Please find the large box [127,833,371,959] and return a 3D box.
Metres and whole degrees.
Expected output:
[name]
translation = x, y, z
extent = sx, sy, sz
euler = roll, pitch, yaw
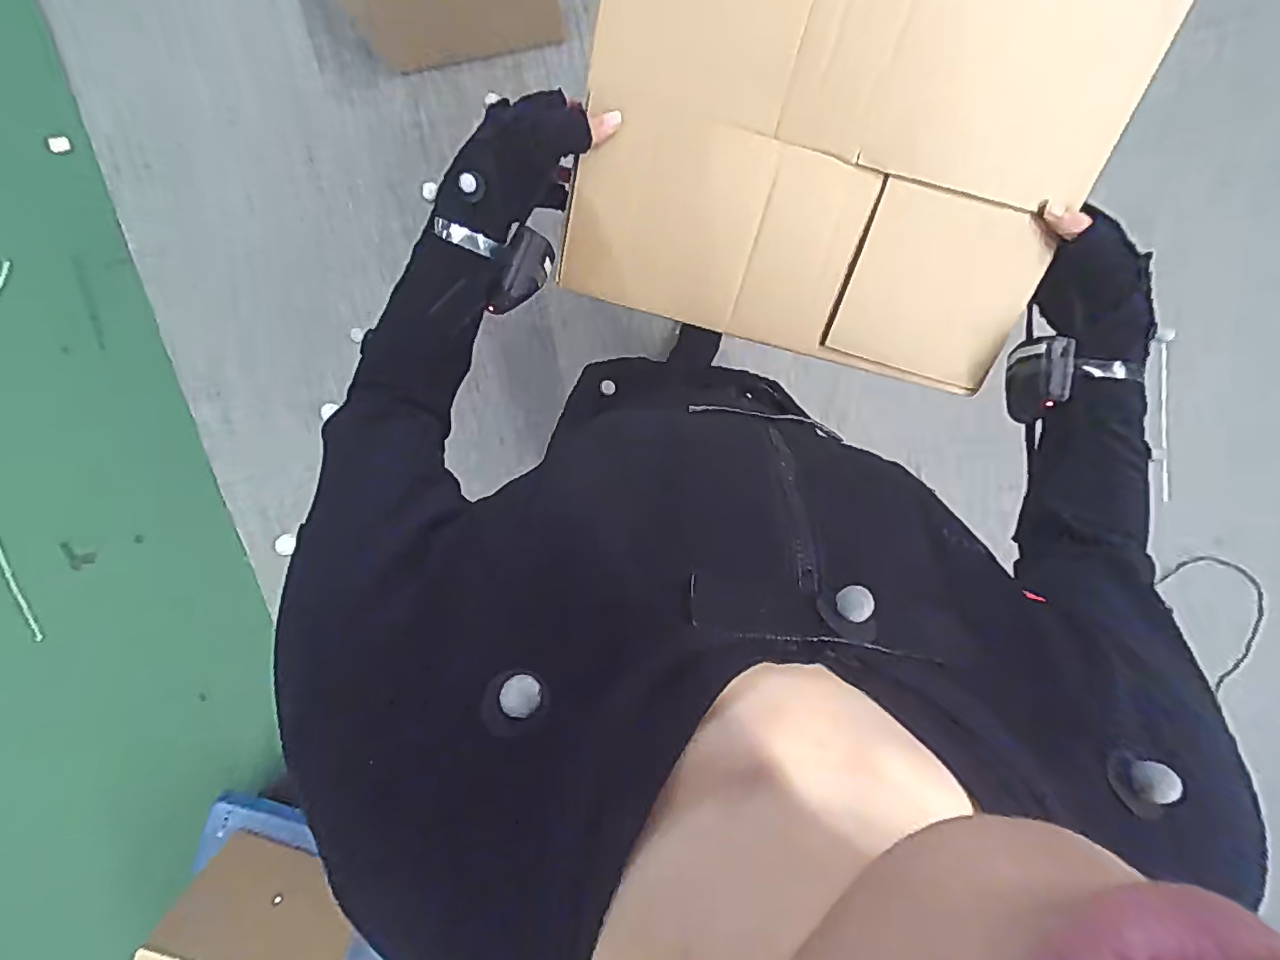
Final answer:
[large box]
translation = -0.975, 1.176, 1.348
extent = 0.408, 0.320, 0.320
euler = 24, 101, -7
